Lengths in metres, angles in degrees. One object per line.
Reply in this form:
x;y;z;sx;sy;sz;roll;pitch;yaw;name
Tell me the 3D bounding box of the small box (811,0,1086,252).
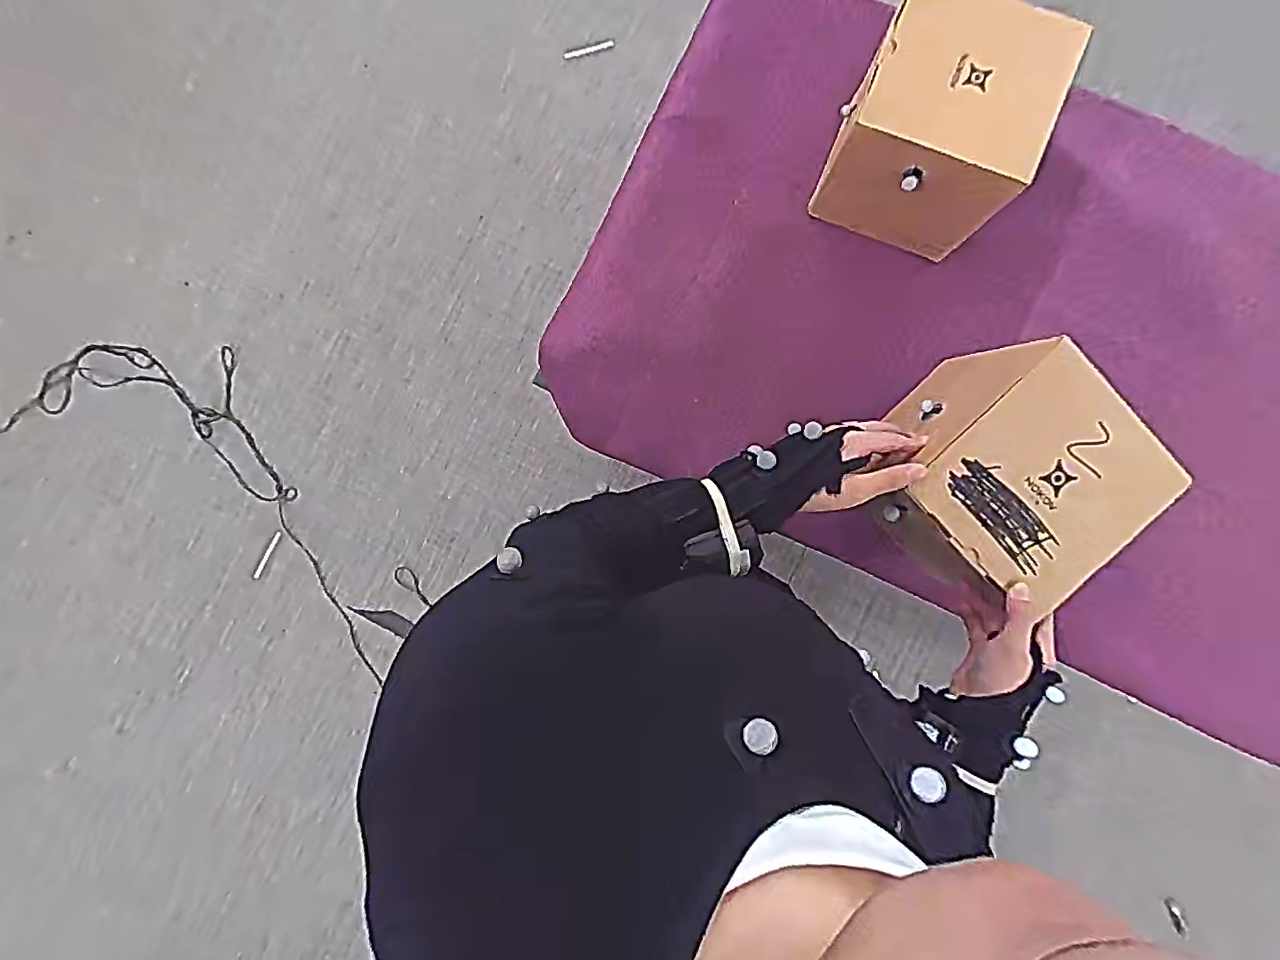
0.317;-0.380;0.595;0.179;0.176;0.168;22;89;3;small box
